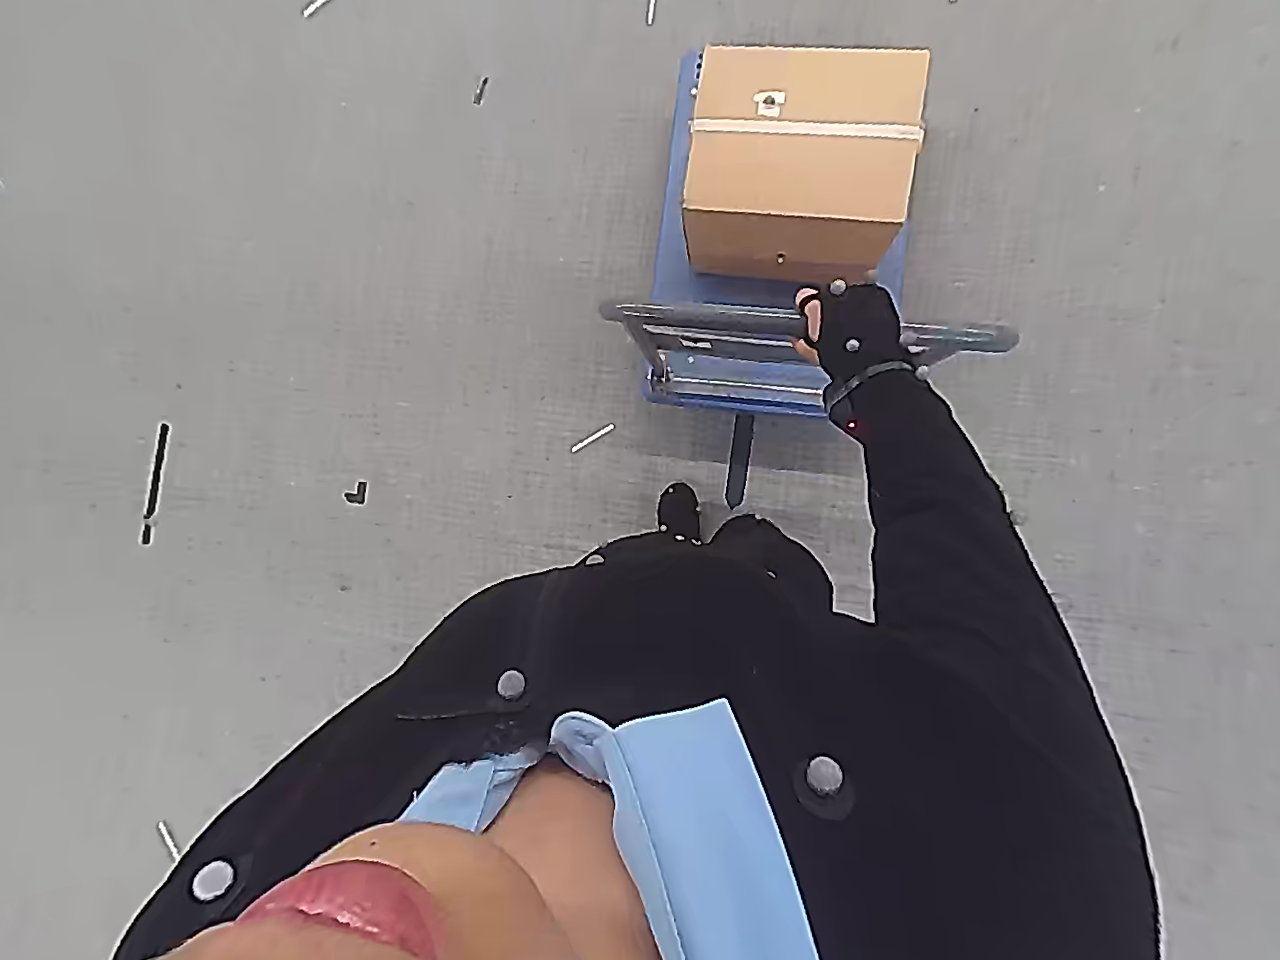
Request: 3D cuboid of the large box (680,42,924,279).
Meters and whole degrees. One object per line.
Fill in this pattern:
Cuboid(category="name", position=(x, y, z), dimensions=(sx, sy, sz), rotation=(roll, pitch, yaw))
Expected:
Cuboid(category="large box", position=(0.315, -0.634, 1.124), dimensions=(0.408, 0.320, 0.320), rotation=(8, 89, 10))
